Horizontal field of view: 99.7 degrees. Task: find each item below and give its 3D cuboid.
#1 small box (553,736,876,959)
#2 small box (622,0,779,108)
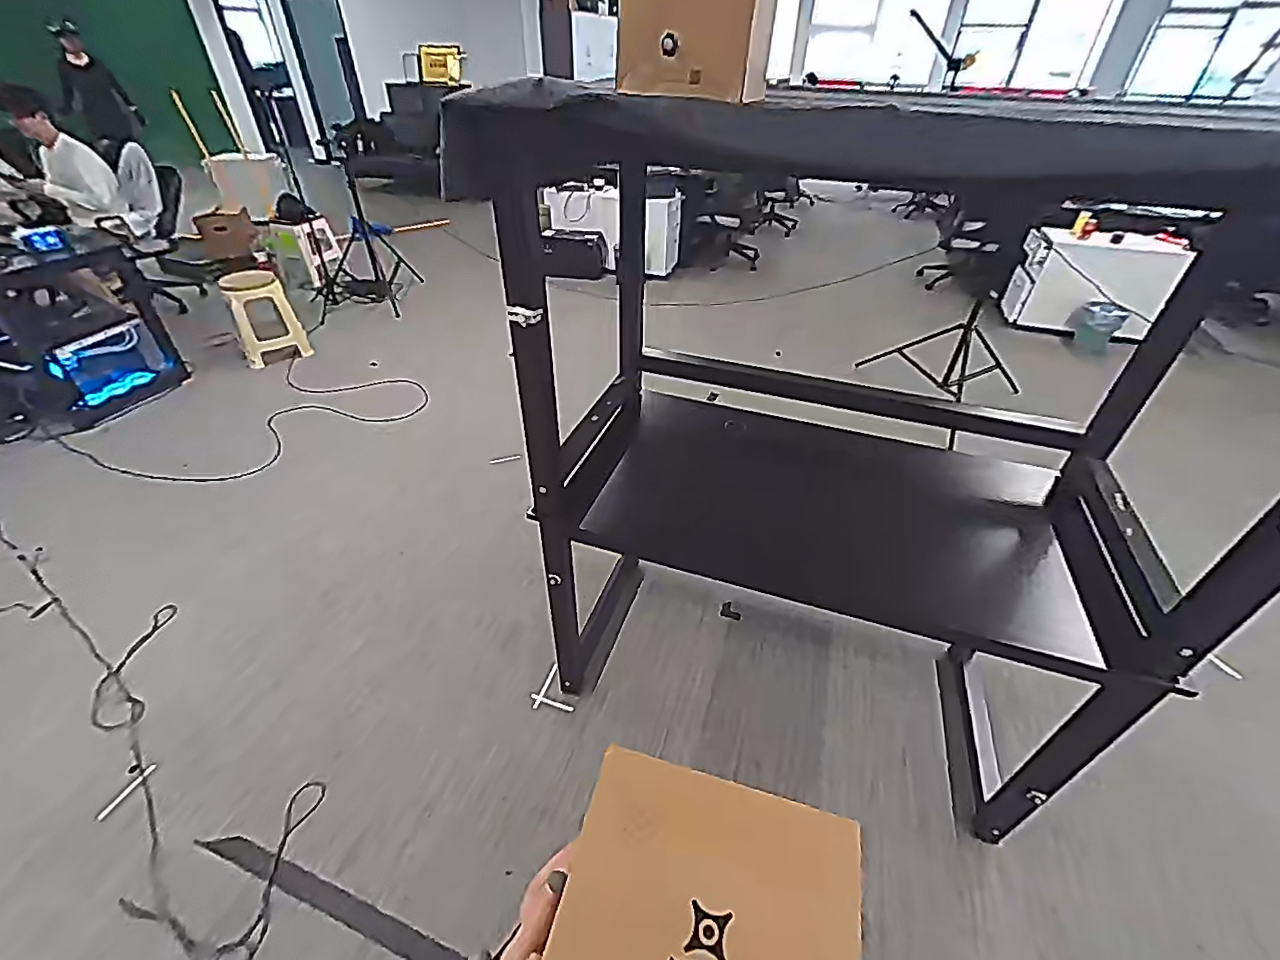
[{"bbox_3d":[0.039,0.302,0.346,0.168,0.176,0.179,12,47,10],"label":"small box"},{"bbox_3d":[0.079,-0.586,0.688,0.168,0.176,0.179,13,39,13],"label":"small box"}]
